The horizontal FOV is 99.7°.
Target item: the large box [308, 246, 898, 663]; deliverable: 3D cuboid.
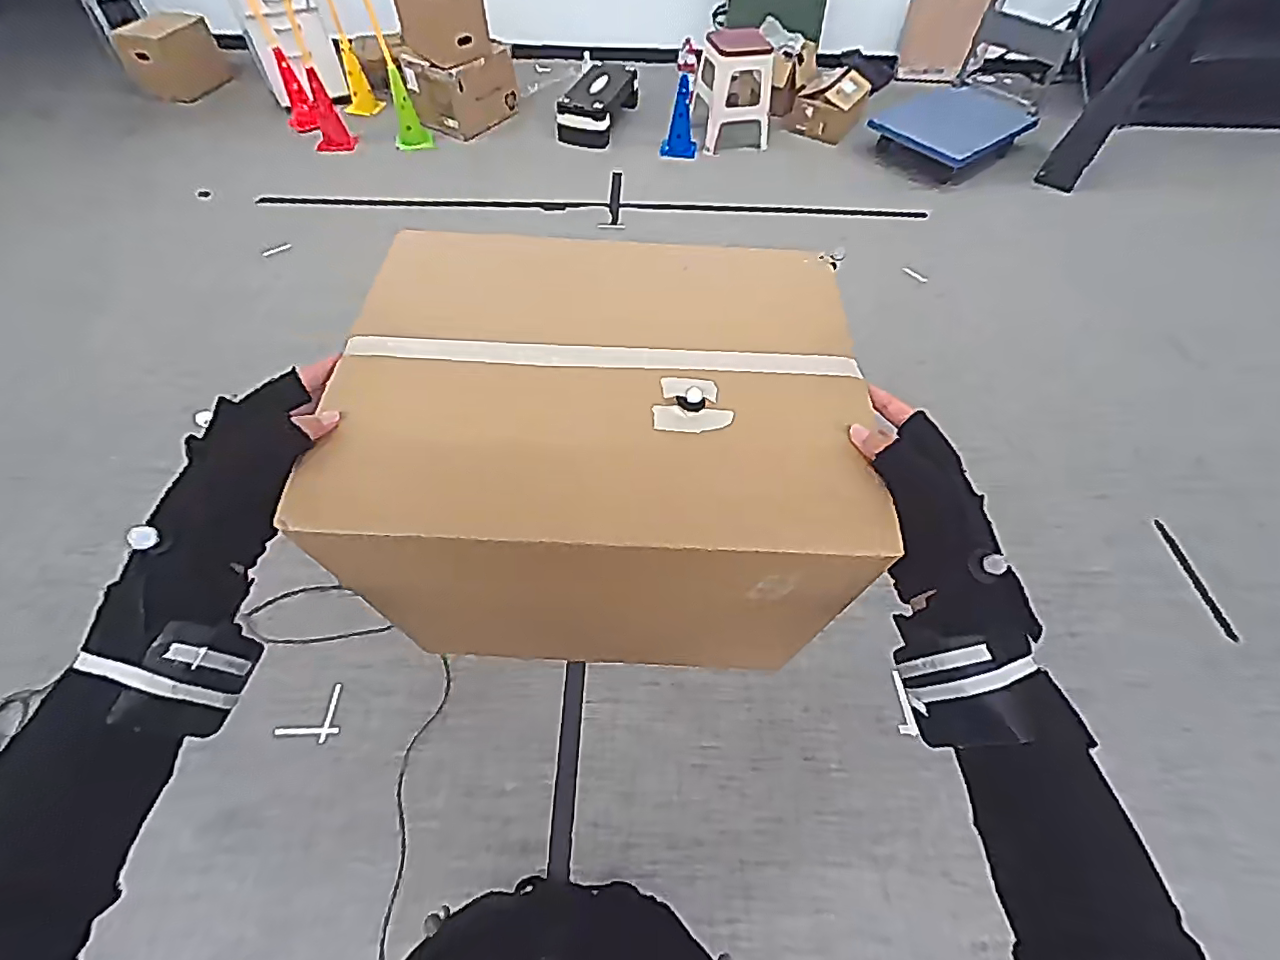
[{"bbox_3d":[-0.027,-0.007,0.562,0.408,0.320,0.320,3,59,-1],"label":"large box"}]
